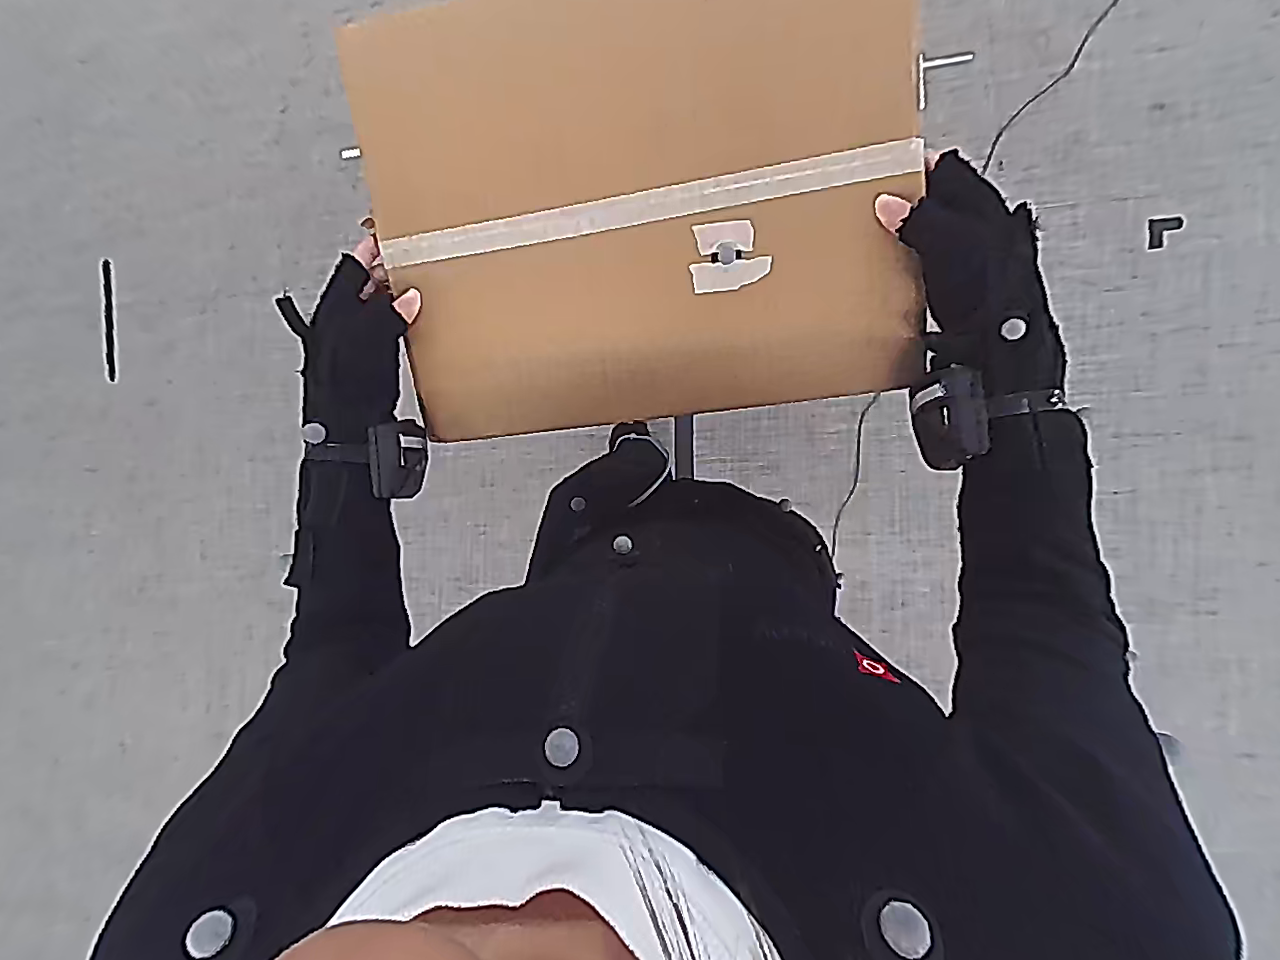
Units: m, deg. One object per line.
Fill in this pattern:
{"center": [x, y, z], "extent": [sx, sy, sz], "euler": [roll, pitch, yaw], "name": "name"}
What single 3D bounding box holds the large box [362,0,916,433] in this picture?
{"center": [0.016, -0.246, 0.561], "extent": [0.408, 0.320, 0.320], "euler": [-6, 104, 9], "name": "large box"}
